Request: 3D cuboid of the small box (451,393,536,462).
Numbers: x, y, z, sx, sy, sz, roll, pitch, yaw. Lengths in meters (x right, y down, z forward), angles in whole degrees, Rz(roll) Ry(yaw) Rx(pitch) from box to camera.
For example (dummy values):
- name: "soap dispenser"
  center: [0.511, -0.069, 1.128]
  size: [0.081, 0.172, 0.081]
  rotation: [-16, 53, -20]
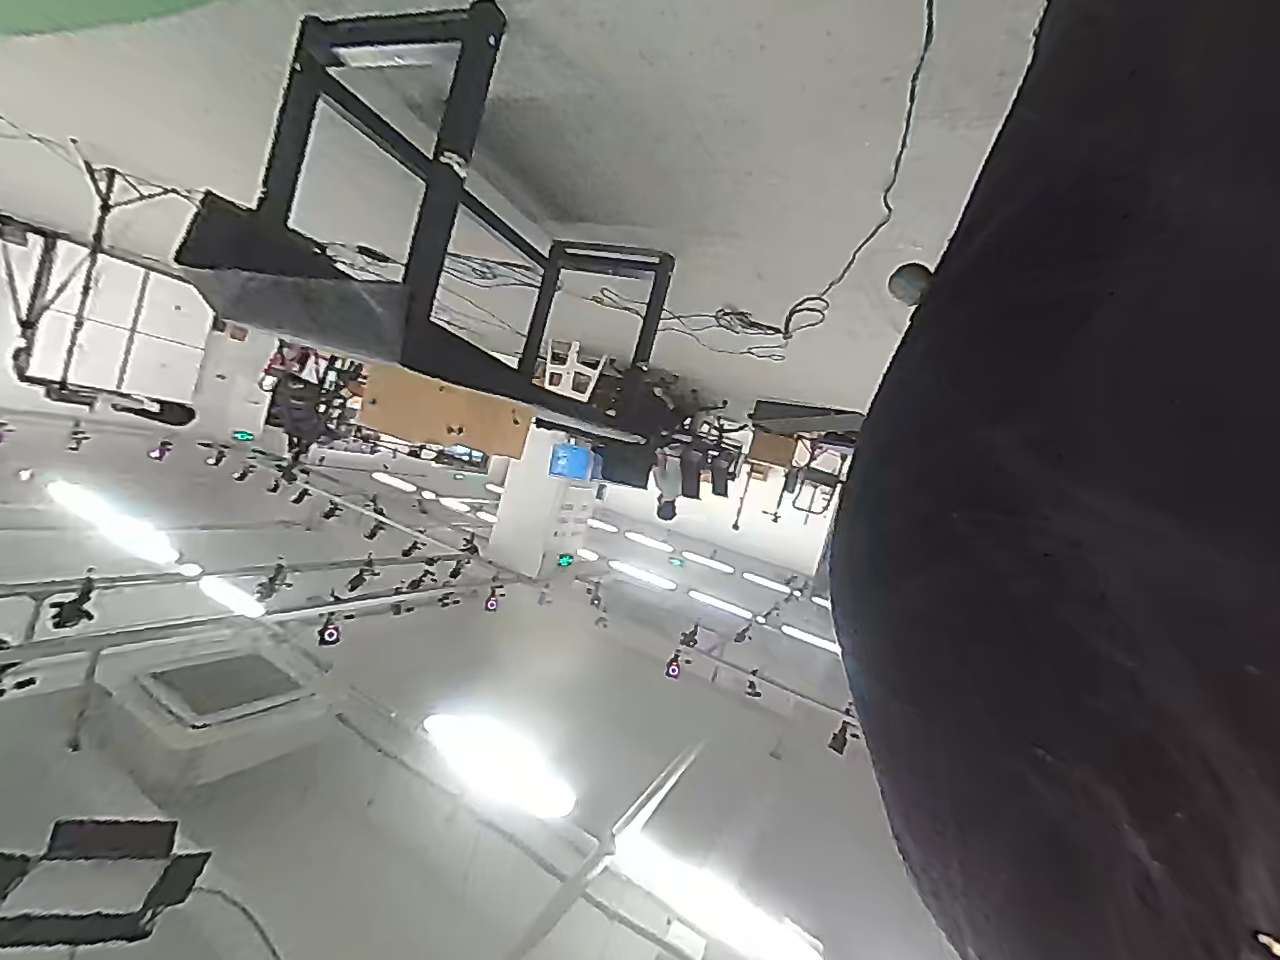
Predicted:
- name: "small box"
  center: [-0.453, -0.167, 1.697]
  size: [0.179, 0.176, 0.168]
  rotation: [17, -177, 24]
